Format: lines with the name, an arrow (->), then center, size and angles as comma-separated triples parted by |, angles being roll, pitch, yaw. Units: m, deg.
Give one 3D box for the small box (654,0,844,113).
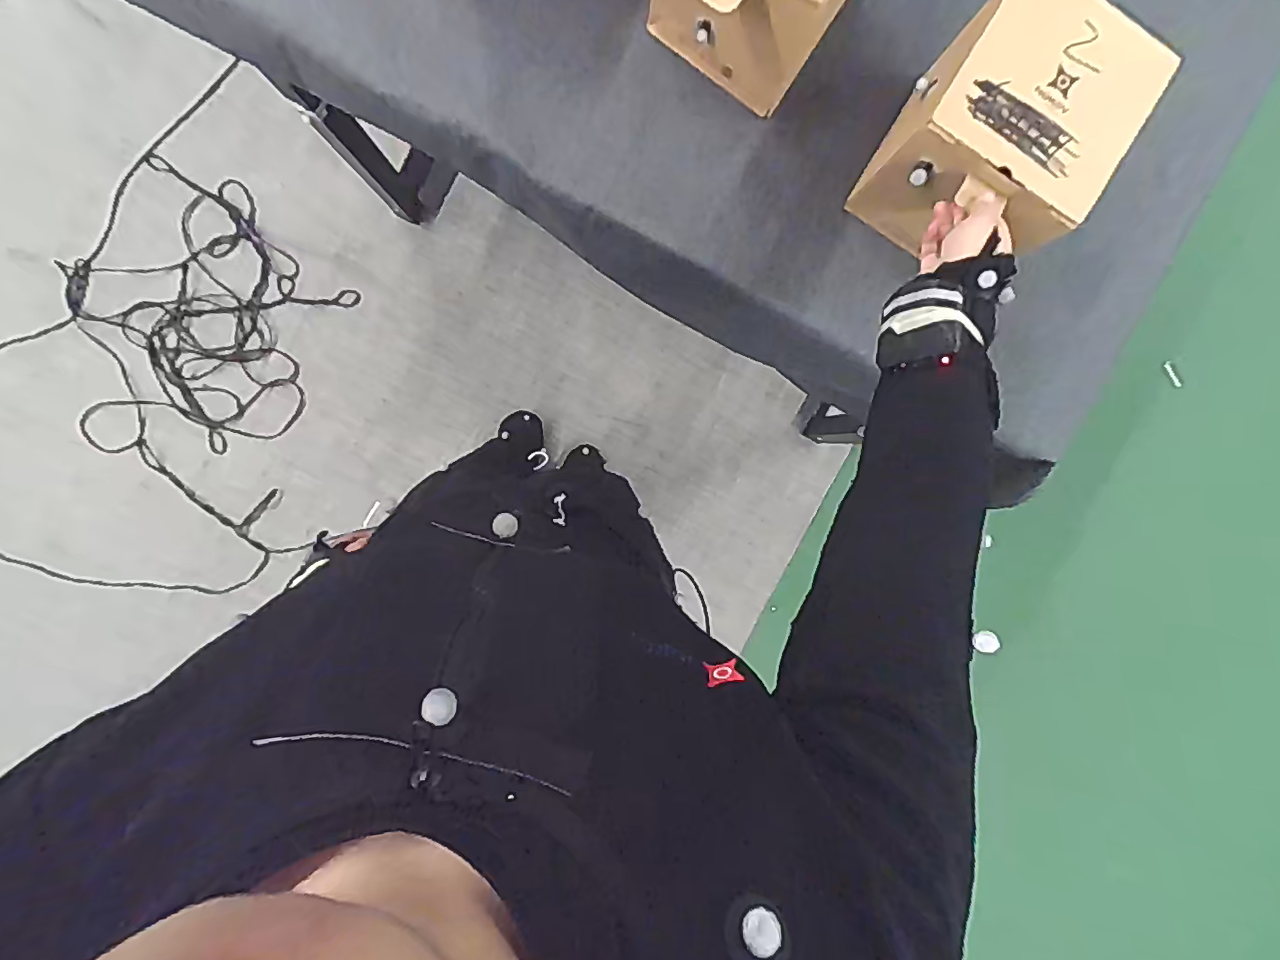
small box -> 0.127, -0.512, 0.512 | 0.168, 0.176, 0.179 | 33, 91, -6
